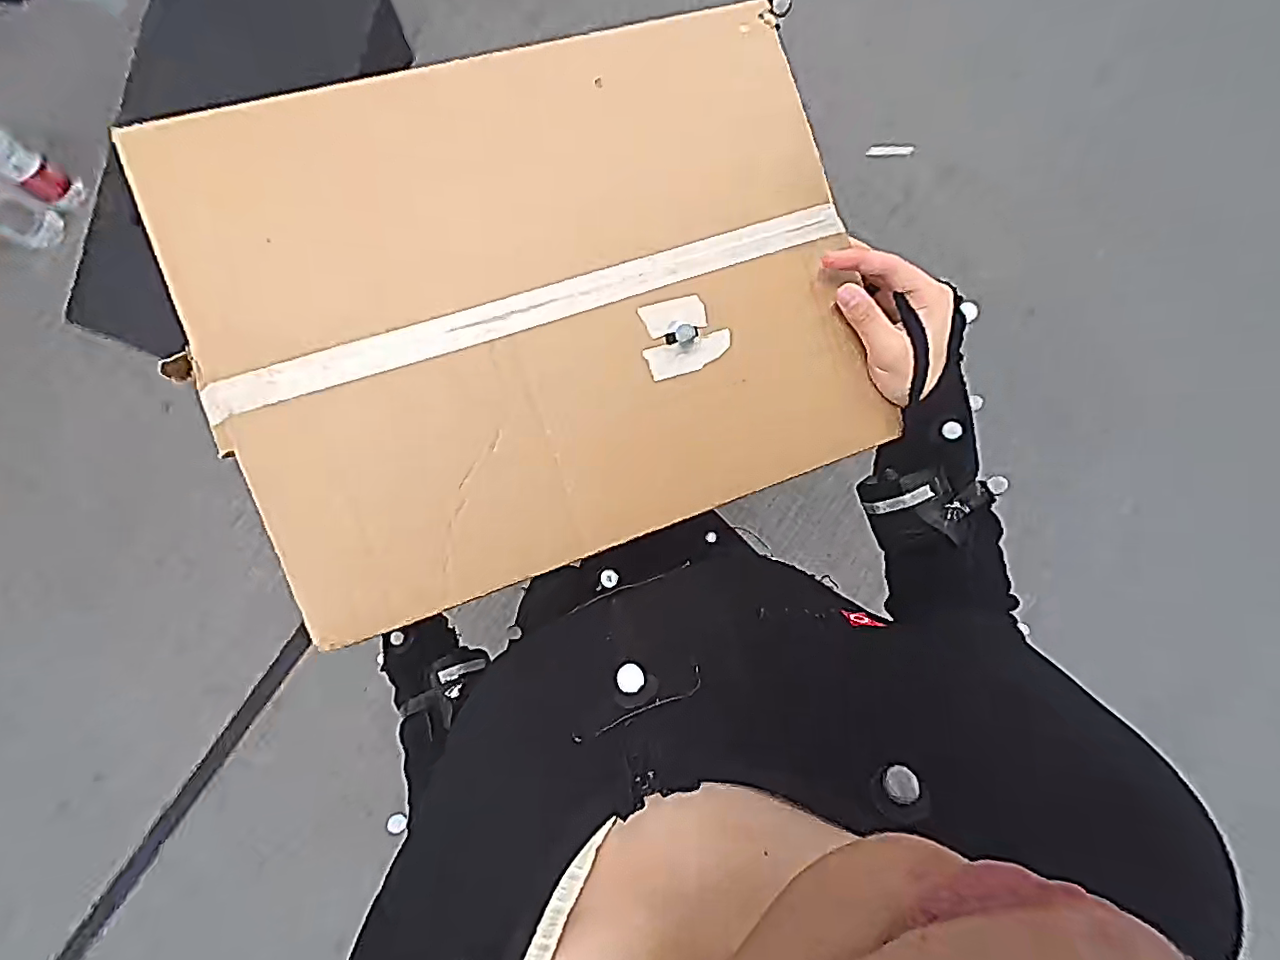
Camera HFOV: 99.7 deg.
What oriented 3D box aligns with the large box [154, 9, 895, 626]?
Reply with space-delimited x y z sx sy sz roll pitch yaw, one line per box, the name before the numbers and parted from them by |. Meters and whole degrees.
large box | -0.075 -0.117 0.492 0.408 0.320 0.320 -19 94 -11
